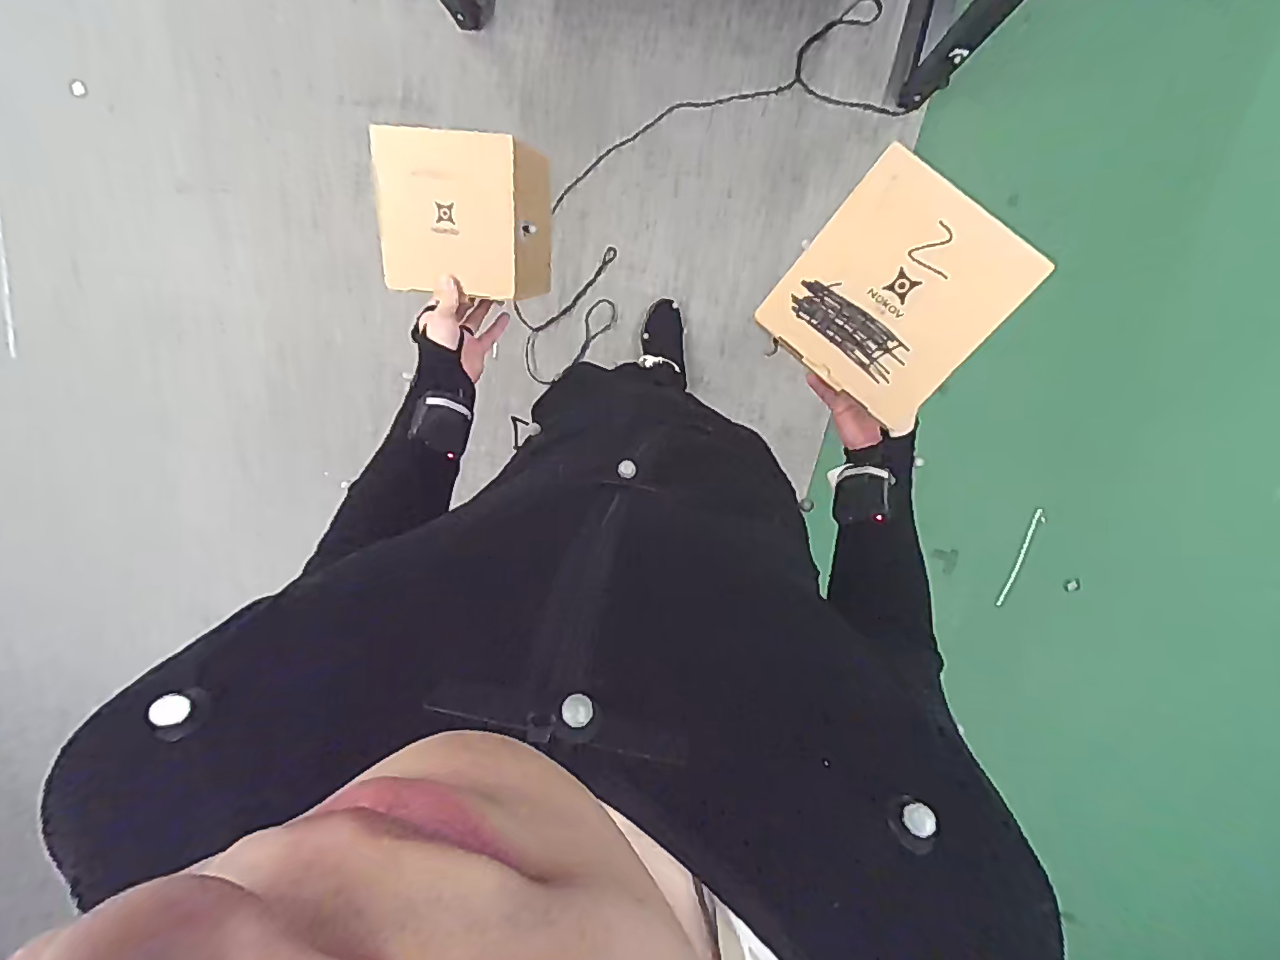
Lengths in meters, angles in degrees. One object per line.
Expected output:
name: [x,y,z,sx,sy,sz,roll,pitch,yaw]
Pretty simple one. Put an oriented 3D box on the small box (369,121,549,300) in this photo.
small box: [-0.218,-0.339,0.699,0.168,0.176,0.179,7,113,3]
